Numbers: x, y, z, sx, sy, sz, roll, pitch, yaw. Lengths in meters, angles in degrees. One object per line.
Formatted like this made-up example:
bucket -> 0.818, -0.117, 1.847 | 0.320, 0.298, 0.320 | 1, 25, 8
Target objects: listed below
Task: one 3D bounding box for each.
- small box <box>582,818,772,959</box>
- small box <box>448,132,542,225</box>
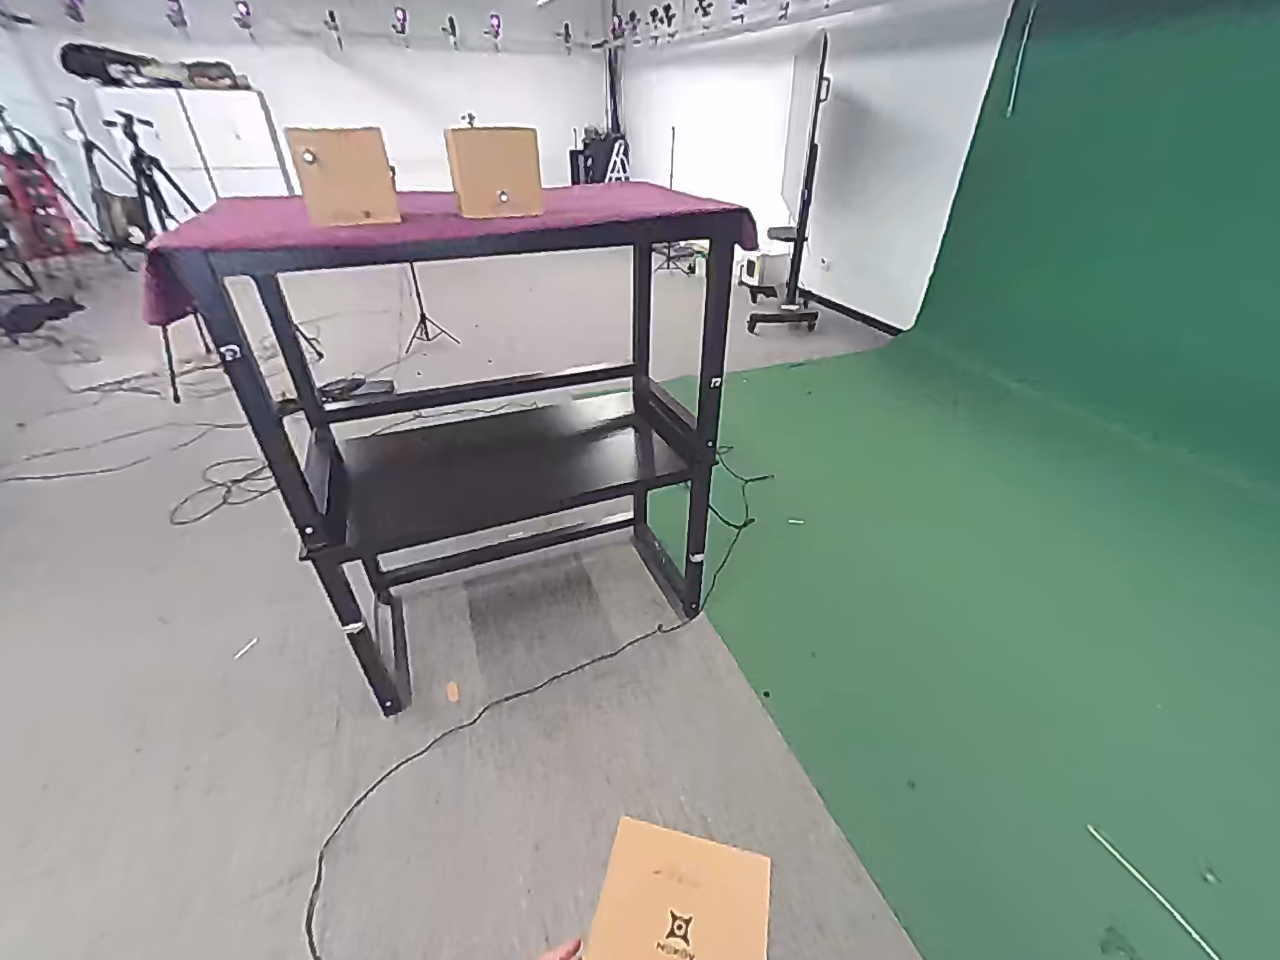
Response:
small box -> 0.033, 0.494, 0.547 | 0.168, 0.176, 0.179 | 10, 32, 11
small box -> -0.319, -0.673, 1.204 | 0.179, 0.176, 0.168 | -12, 34, -19
